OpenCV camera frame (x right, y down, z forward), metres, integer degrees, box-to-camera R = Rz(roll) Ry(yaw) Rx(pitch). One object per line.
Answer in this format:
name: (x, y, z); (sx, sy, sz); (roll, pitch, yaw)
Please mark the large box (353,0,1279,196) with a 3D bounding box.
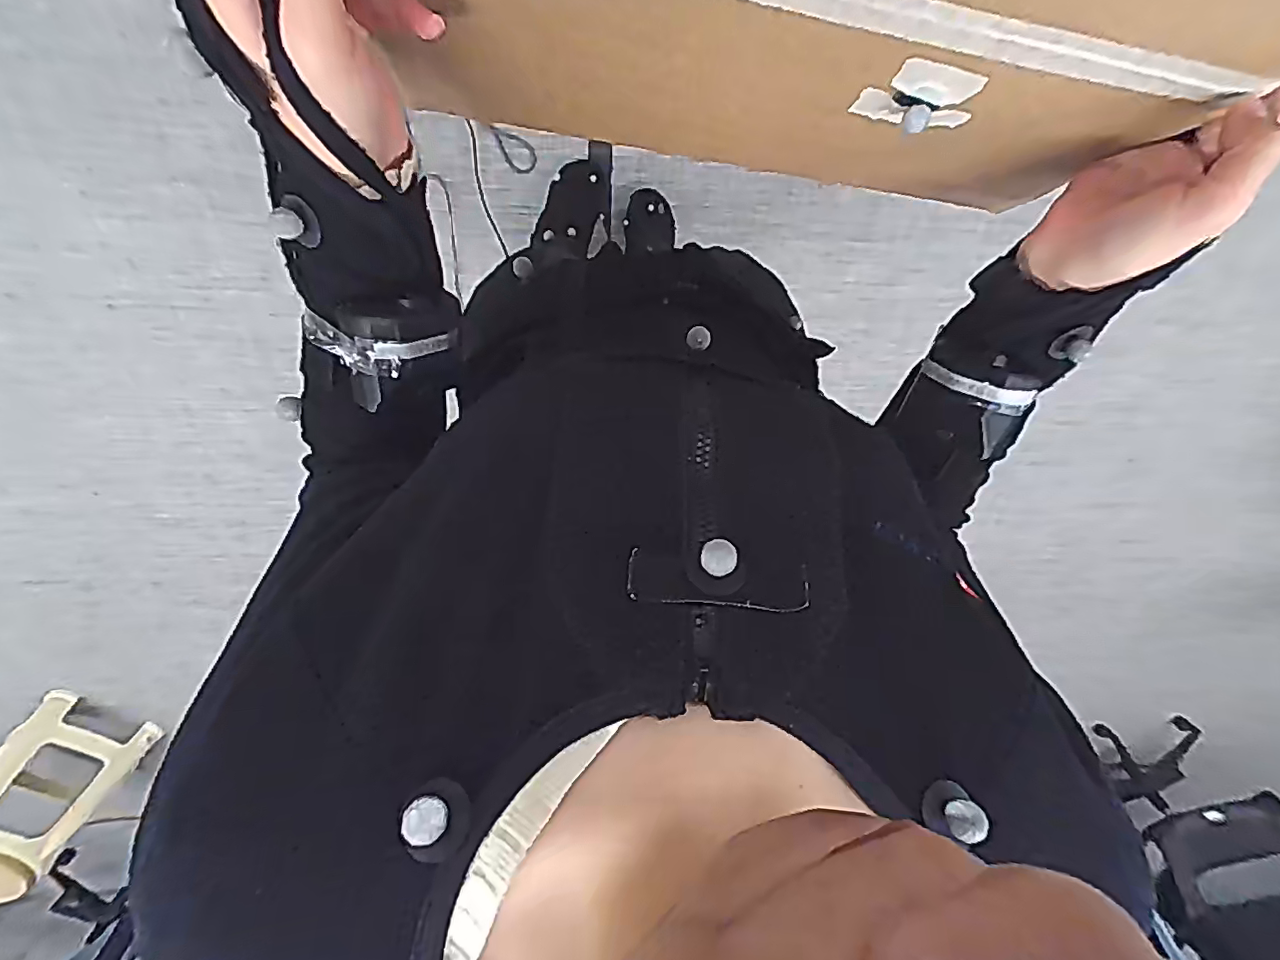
large box: (0.085, -0.343, 0.191); (0.408, 0.320, 0.320); (4, 99, -8)
